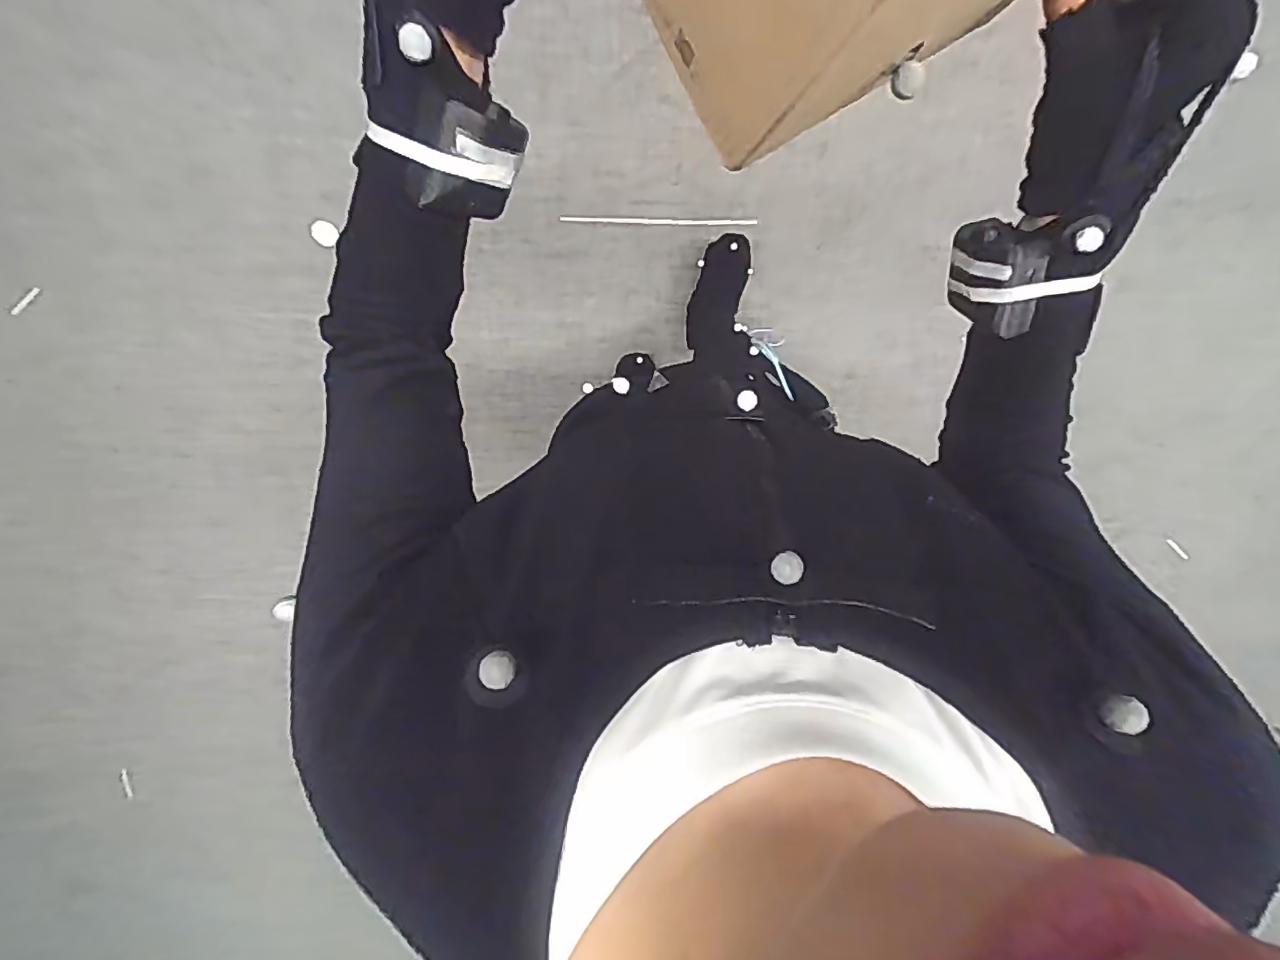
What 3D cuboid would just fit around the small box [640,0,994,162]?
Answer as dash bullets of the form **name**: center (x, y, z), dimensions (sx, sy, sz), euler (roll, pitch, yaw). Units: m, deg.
- **small box**: center (0.095, -0.275, 0.219), dimensions (0.179, 0.176, 0.168), euler (-33, 103, -2)
